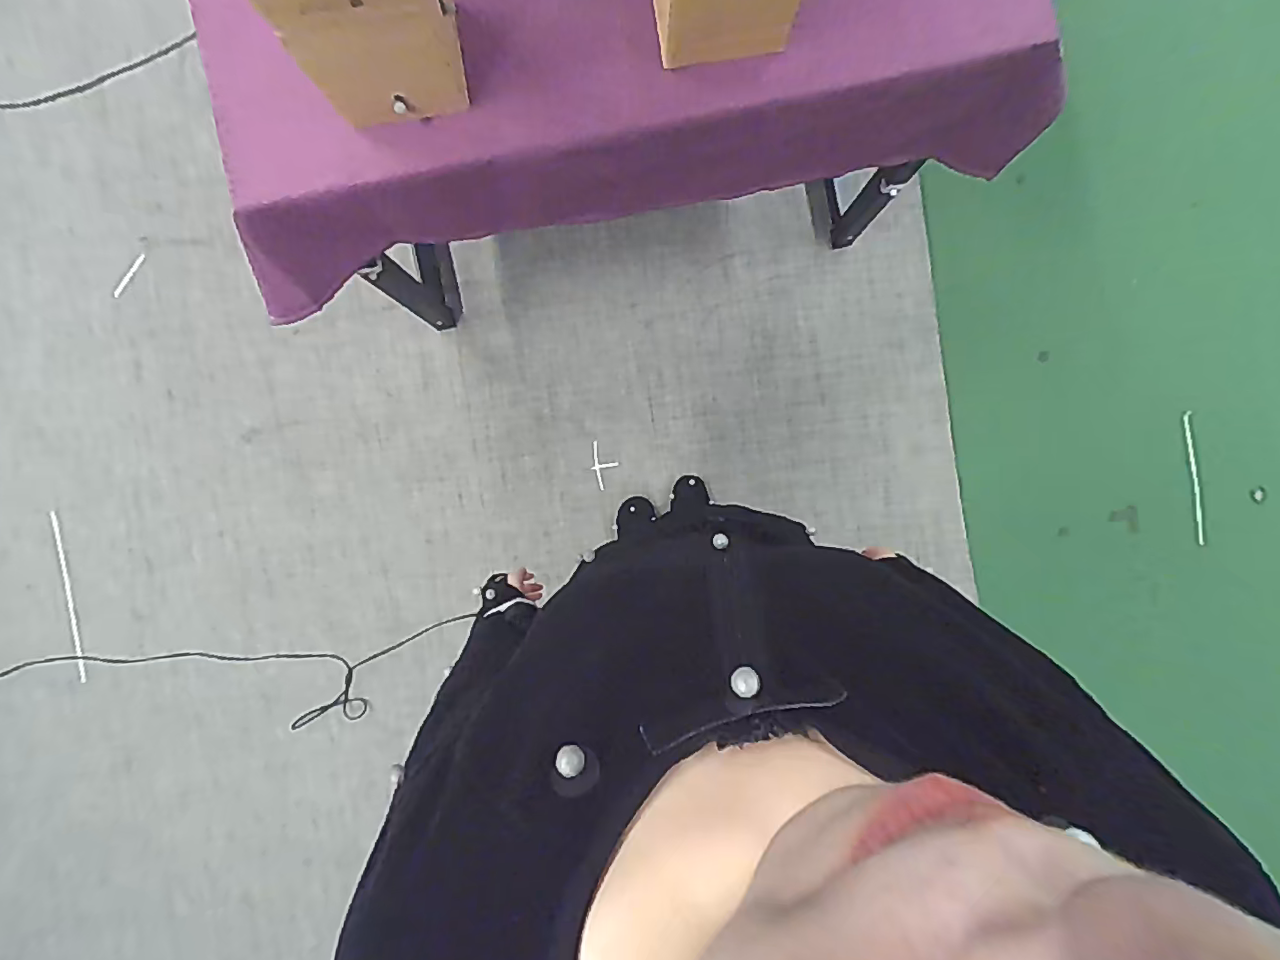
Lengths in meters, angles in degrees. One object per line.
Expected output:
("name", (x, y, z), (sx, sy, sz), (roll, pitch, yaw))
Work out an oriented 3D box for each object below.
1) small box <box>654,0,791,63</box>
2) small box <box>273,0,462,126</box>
("small box", (0.103, -0.680, 0.693), (0.179, 0.176, 0.168), (-8, 90, 0))
("small box", (-0.341, -0.596, 0.695), (0.179, 0.176, 0.168), (-9, 90, 0))
